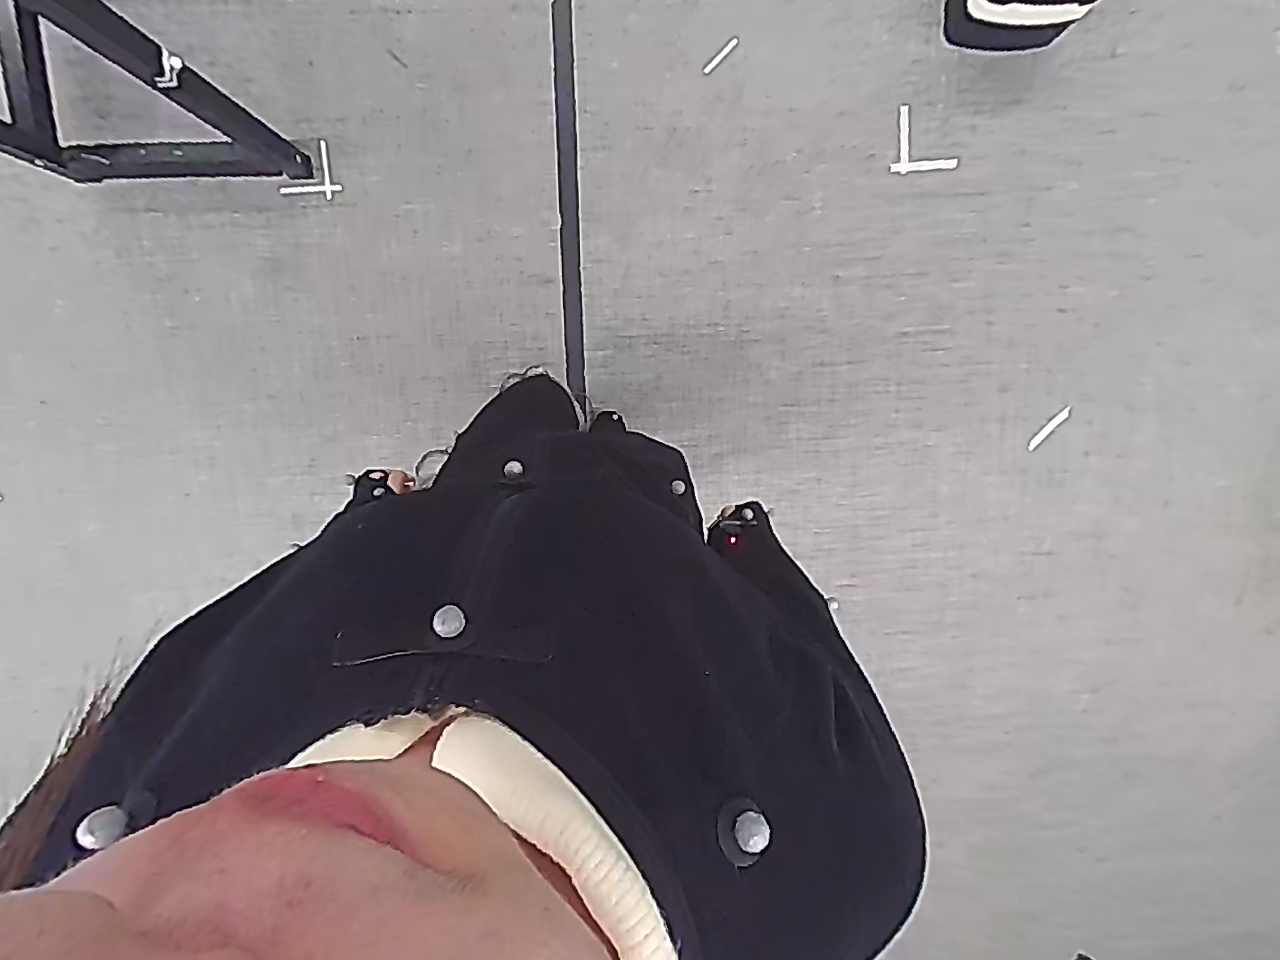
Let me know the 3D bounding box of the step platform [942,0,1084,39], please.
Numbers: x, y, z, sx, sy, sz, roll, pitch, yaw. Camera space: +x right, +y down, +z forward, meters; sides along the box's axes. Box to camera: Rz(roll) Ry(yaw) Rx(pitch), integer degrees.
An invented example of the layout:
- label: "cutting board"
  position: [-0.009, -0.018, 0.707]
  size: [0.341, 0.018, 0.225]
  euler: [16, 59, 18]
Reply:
- label: "step platform"
  position: [0.902, -1.412, 1.190]
  size: [0.286, 0.204, 0.684]
  euler: [4, 98, -2]
